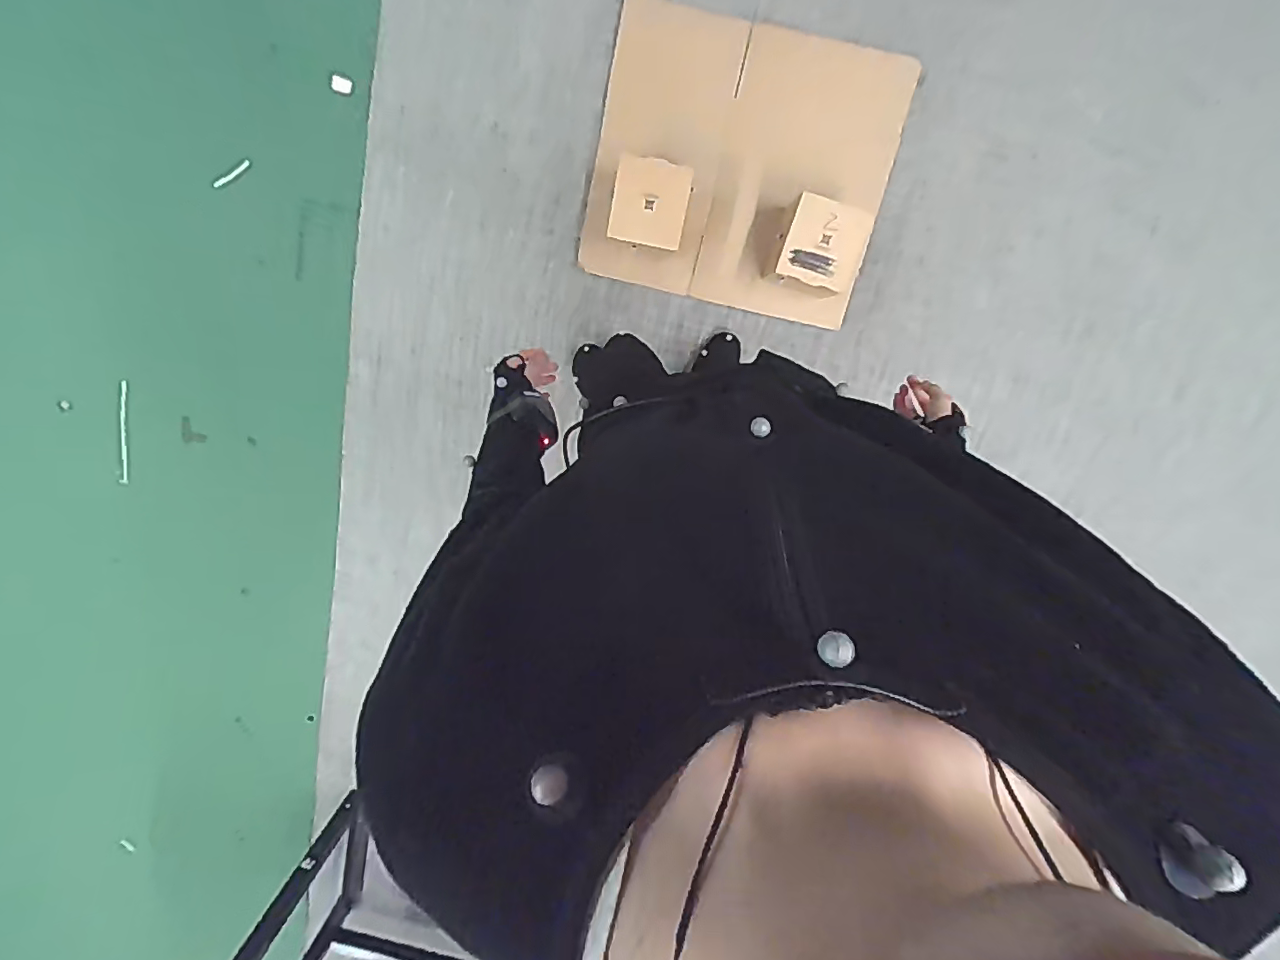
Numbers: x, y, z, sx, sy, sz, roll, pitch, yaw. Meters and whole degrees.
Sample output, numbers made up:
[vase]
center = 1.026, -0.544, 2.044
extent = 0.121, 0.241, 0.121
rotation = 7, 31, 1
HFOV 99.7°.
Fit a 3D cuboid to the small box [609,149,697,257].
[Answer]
[small box]
center = 0.033, -0.631, 1.254
extent = 0.168, 0.176, 0.179
rotation = 11, 105, 0
